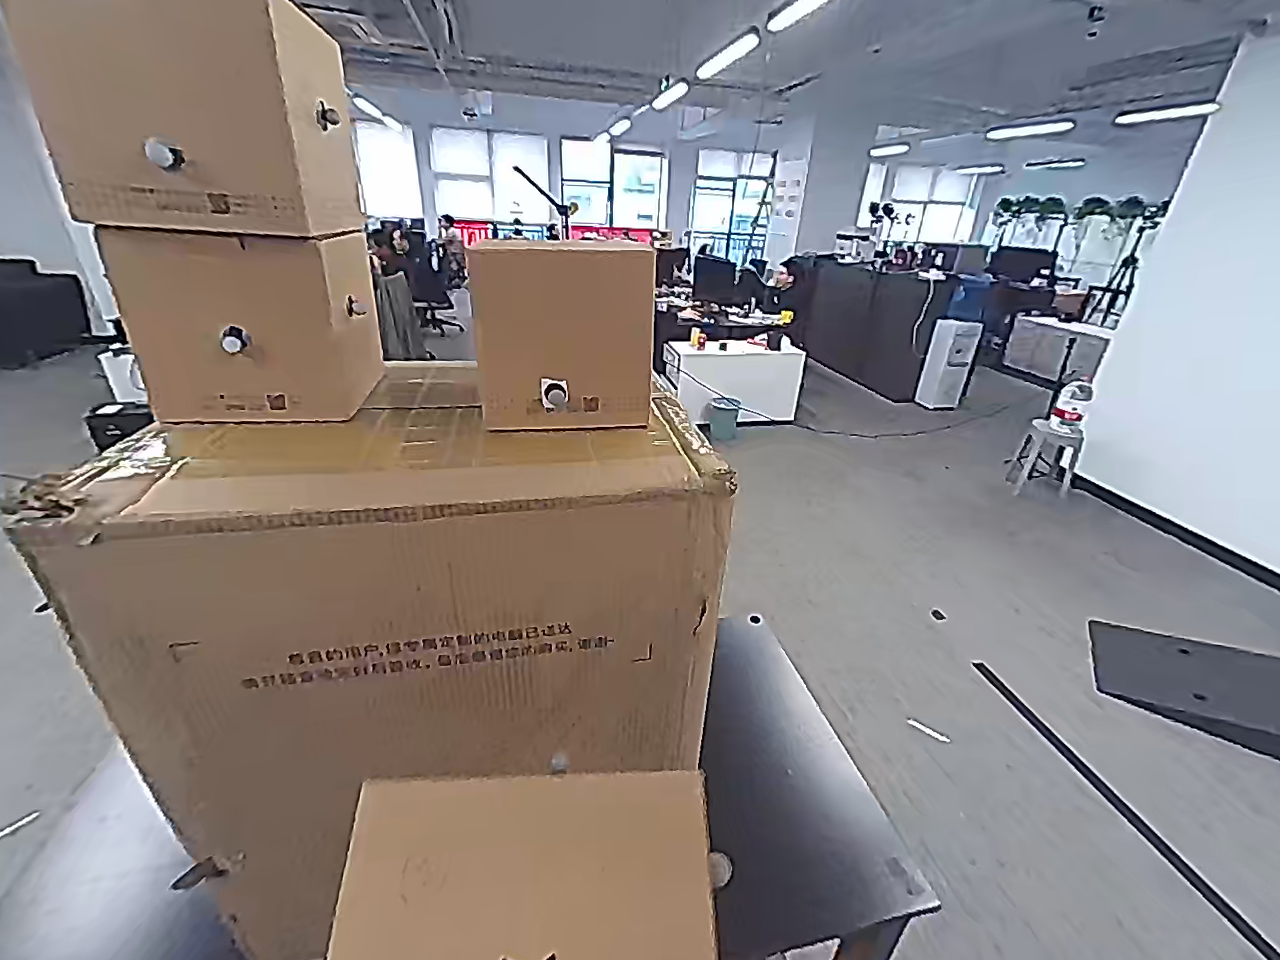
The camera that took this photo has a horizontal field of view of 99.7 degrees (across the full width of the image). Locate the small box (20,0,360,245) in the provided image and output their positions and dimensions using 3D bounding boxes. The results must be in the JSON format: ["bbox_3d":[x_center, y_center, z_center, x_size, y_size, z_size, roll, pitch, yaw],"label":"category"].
[{"bbox_3d":[-0.358,-0.305,0.469,0.168,0.176,0.179,-2,27,-12],"label":"small box"}]

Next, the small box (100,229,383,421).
[{"bbox_3d":[-0.375,-0.164,0.556,0.168,0.176,0.179,-2,27,-13],"label":"small box"}]

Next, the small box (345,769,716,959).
[{"bbox_3d":[-0.052,0.269,0.296,0.168,0.176,0.179,-1,58,-5],"label":"small box"}]

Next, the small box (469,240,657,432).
[{"bbox_3d":[-0.080,-0.159,0.578,0.168,0.176,0.179,-4,28,-9],"label":"small box"}]
